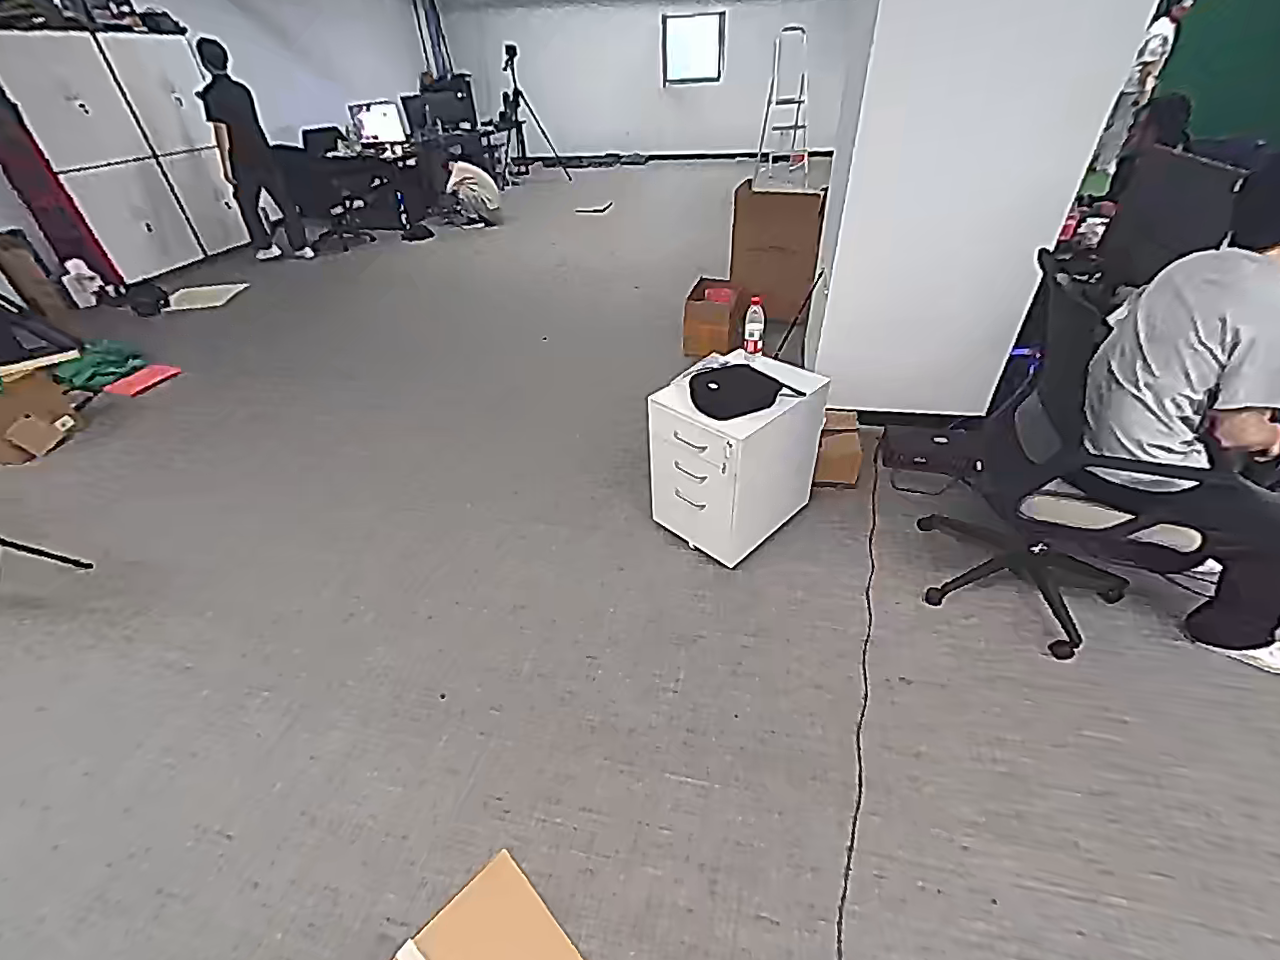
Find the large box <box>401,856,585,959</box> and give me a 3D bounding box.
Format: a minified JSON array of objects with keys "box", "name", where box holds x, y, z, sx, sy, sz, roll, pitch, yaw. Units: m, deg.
[{"box":[-0.156,0.799,0.688,0.320,0.408,0.320,-35,35,-31],"name":"large box"}]
